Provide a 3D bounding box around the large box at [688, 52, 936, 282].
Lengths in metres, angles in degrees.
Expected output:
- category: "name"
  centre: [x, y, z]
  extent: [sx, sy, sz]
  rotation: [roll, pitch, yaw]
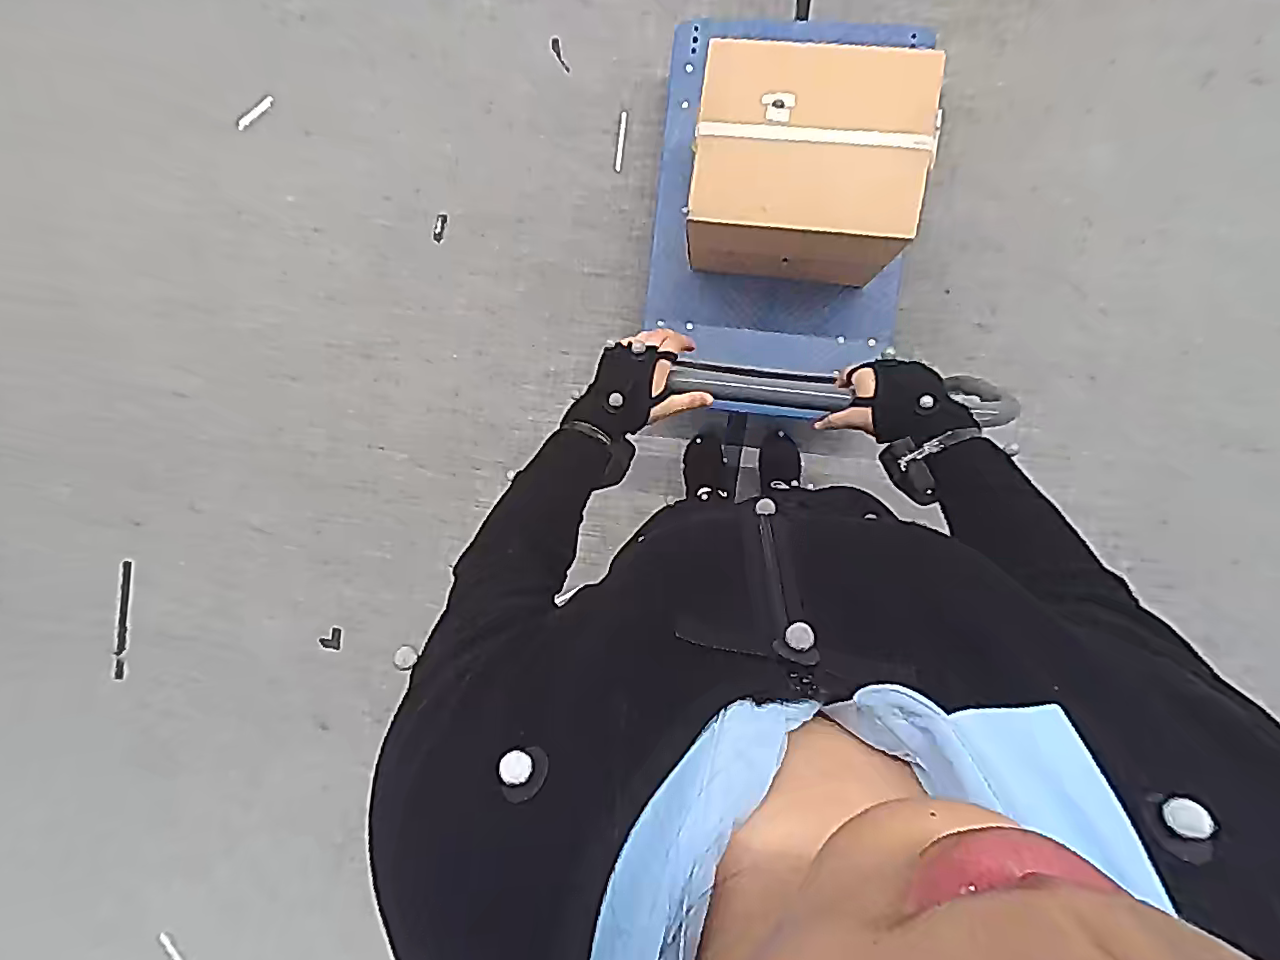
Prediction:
- category: "large box"
  centre: [0.321, -0.613, 1.113]
  extent: [0.408, 0.320, 0.320]
  rotation: [8, 95, 7]
